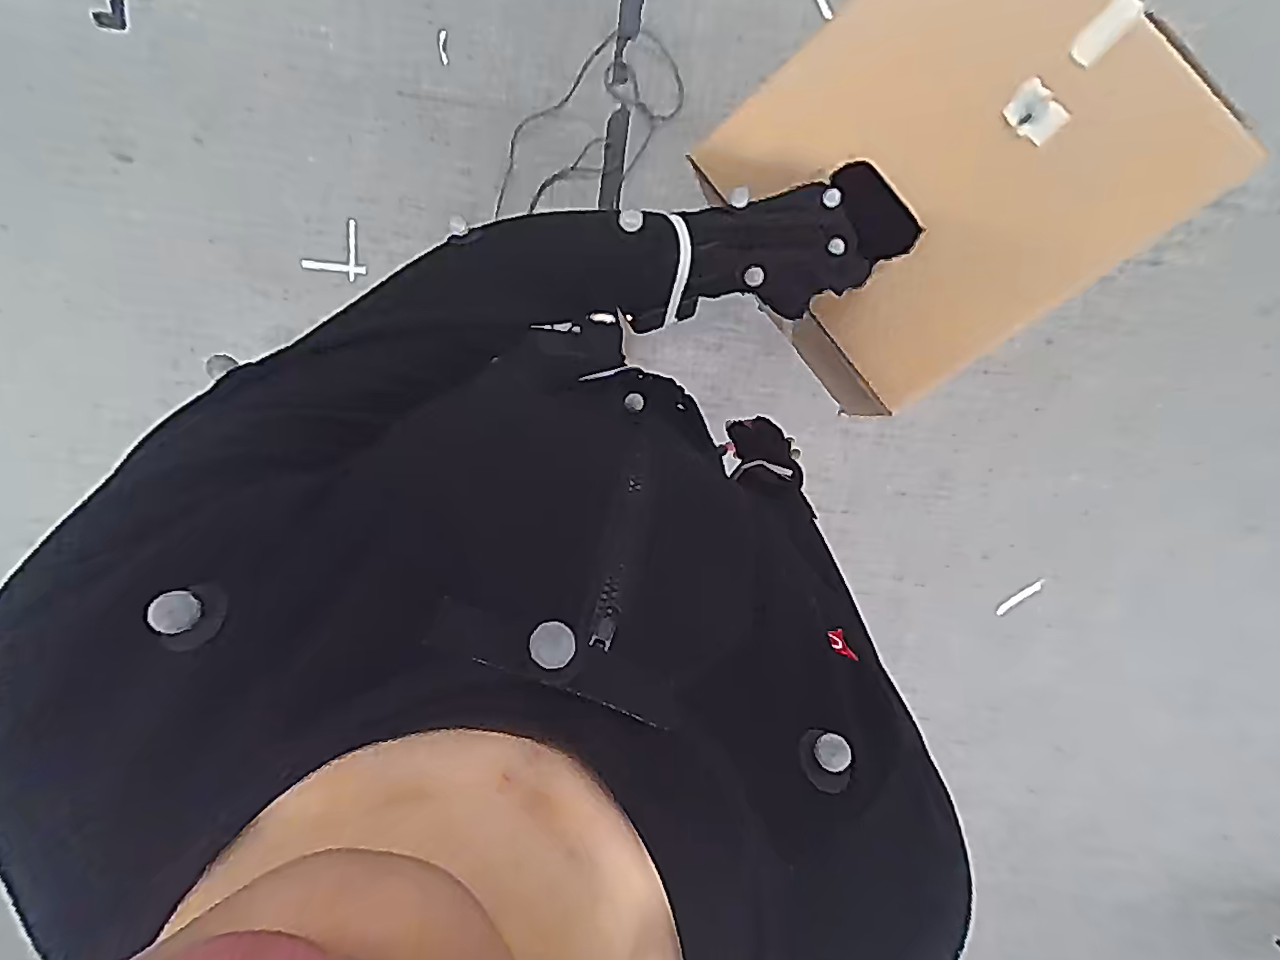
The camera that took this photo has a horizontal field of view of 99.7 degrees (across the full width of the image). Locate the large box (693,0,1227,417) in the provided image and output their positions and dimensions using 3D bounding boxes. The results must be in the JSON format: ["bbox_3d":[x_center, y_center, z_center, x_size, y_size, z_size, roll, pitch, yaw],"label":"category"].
[{"bbox_3d":[0.311,-0.291,0.650,0.320,0.408,0.320,-37,85,18],"label":"large box"}]
